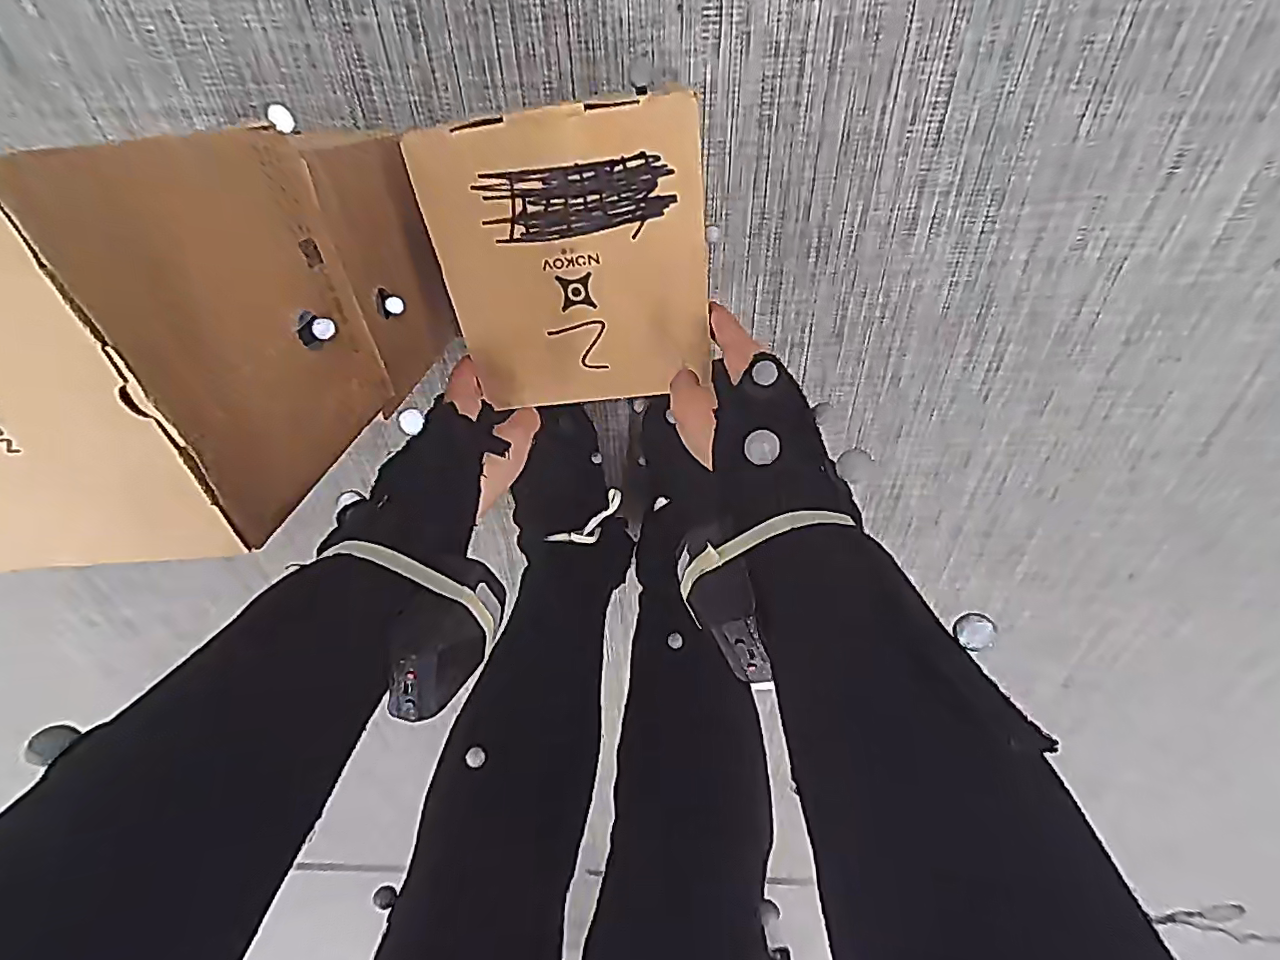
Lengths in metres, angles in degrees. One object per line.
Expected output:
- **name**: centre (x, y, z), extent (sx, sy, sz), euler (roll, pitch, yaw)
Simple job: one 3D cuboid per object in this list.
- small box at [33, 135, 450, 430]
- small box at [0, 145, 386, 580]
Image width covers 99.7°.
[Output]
- **small box**: centre (-0.264, -0.157, 0.420), extent (0.168, 0.176, 0.179), euler (1, 126, 1)
- **small box**: centre (-0.273, -0.067, 0.284), extent (0.179, 0.176, 0.168), euler (-5, 126, 5)
